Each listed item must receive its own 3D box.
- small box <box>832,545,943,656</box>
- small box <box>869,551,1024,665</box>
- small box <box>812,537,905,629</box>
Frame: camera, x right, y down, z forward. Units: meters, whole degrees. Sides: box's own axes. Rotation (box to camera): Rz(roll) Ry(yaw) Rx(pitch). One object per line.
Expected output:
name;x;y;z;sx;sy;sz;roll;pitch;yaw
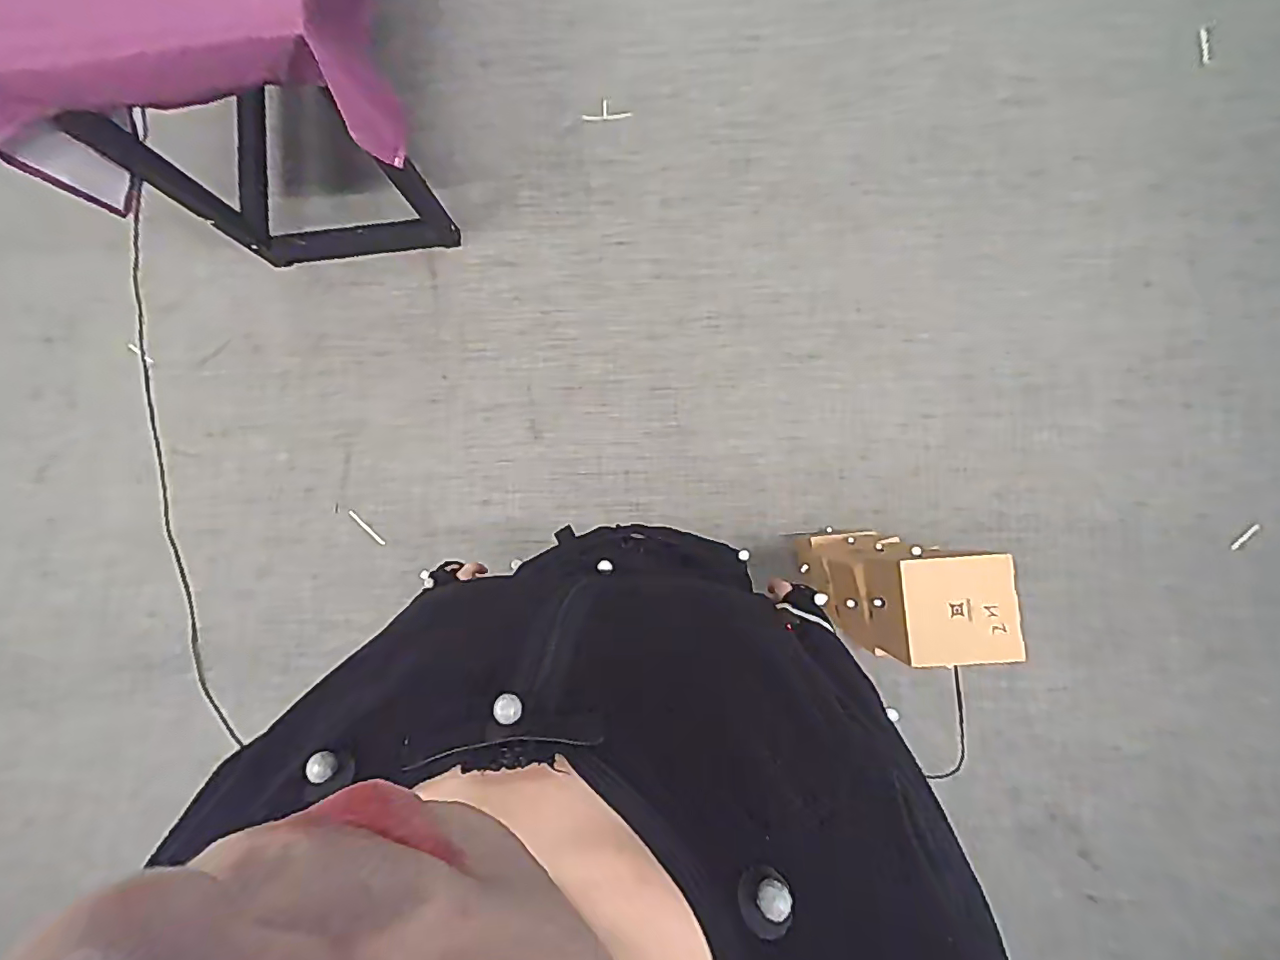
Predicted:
small box;0.503;0.232;1.079;0.168;0.176;0.179;-12;84;2
small box;0.502;0.209;0.916;0.179;0.176;0.168;-3;85;3
small box;0.509;0.230;1.242;0.179;0.176;0.168;-15;85;1
